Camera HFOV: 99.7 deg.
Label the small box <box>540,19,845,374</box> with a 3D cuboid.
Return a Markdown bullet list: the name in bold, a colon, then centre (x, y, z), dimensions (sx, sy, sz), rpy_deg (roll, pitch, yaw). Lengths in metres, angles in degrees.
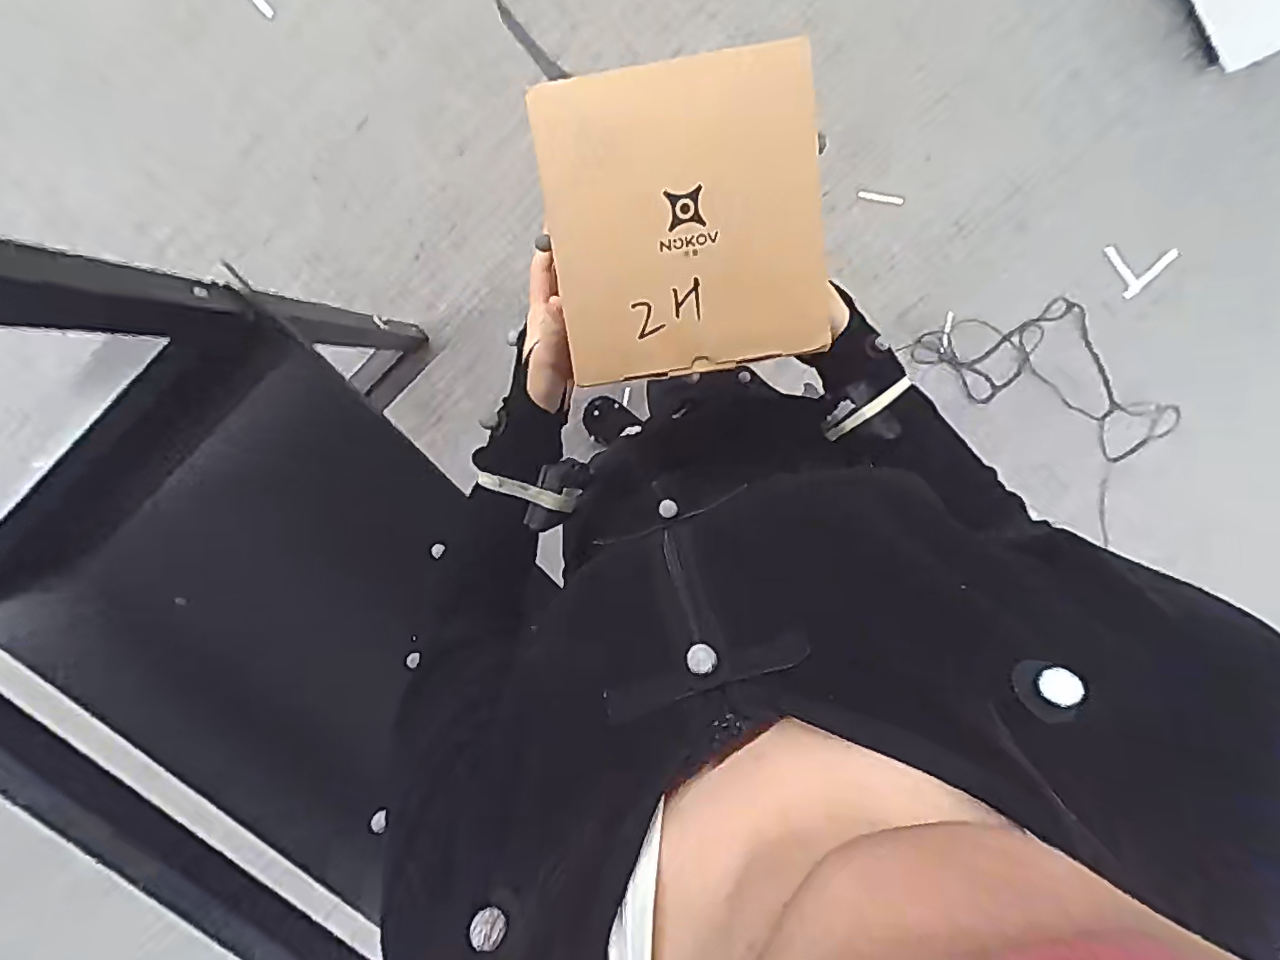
- **small box**: centre (0.036, -0.180, 0.401), dimensions (0.168, 0.176, 0.179), rpy_deg (-9, 103, 4)
